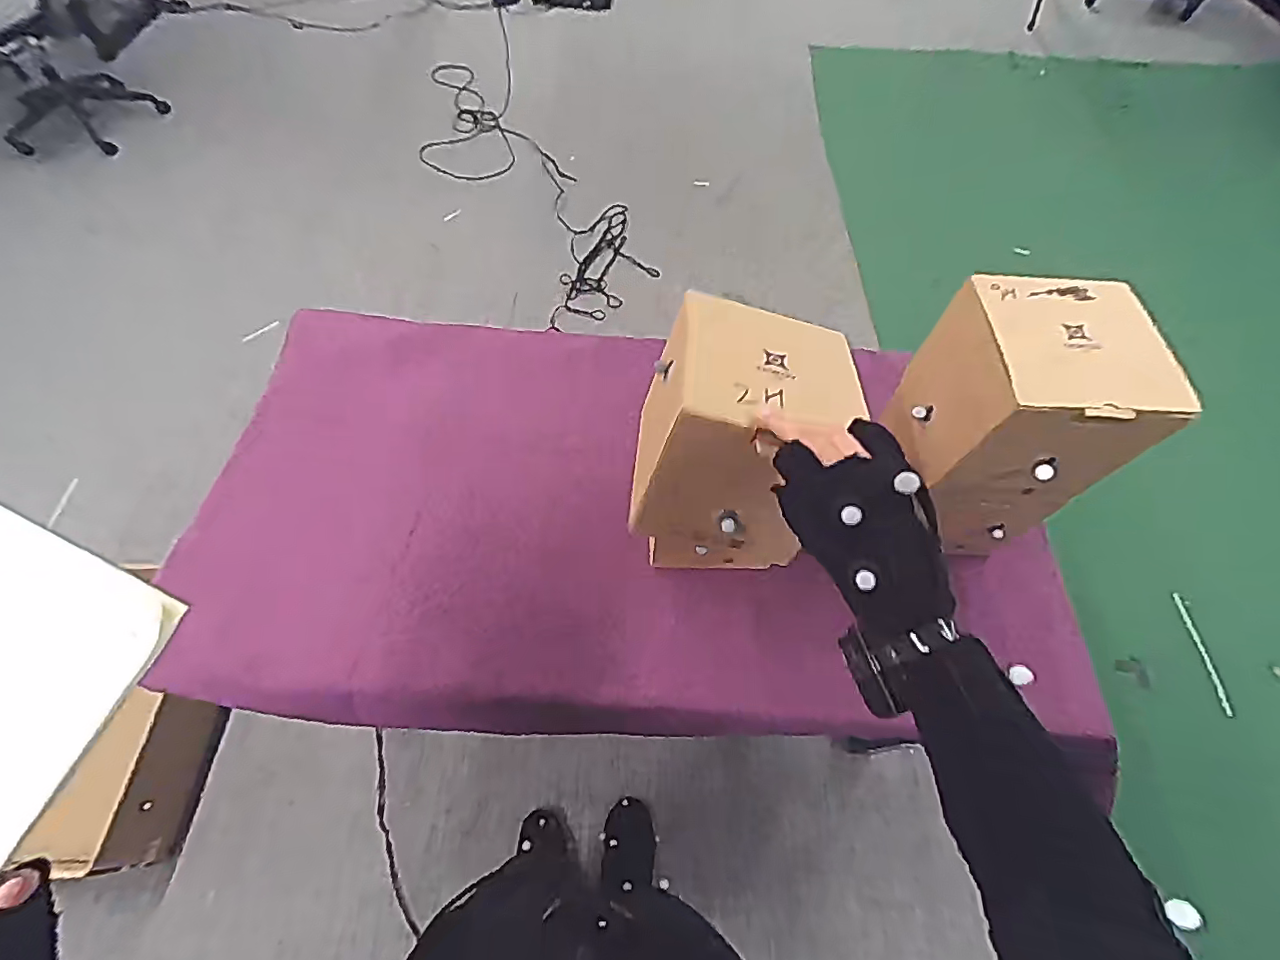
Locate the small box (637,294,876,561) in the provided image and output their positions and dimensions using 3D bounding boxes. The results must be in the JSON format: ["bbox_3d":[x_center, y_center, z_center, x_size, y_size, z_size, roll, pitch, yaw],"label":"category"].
[{"bbox_3d":[0.096,-0.047,0.531,0.168,0.176,0.179,10,51,-7],"label":"small box"}]

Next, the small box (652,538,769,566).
[{"bbox_3d":[0.101,0.006,0.719,0.168,0.176,0.179,1,59,-1],"label":"small box"}]

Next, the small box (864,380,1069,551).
[{"bbox_3d":[0.420,-0.015,0.735,0.168,0.176,0.179,4,60,1],"label":"small box"}]

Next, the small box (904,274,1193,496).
[{"bbox_3d":[0.417,-0.096,0.593,0.168,0.176,0.179,4,61,0],"label":"small box"}]
